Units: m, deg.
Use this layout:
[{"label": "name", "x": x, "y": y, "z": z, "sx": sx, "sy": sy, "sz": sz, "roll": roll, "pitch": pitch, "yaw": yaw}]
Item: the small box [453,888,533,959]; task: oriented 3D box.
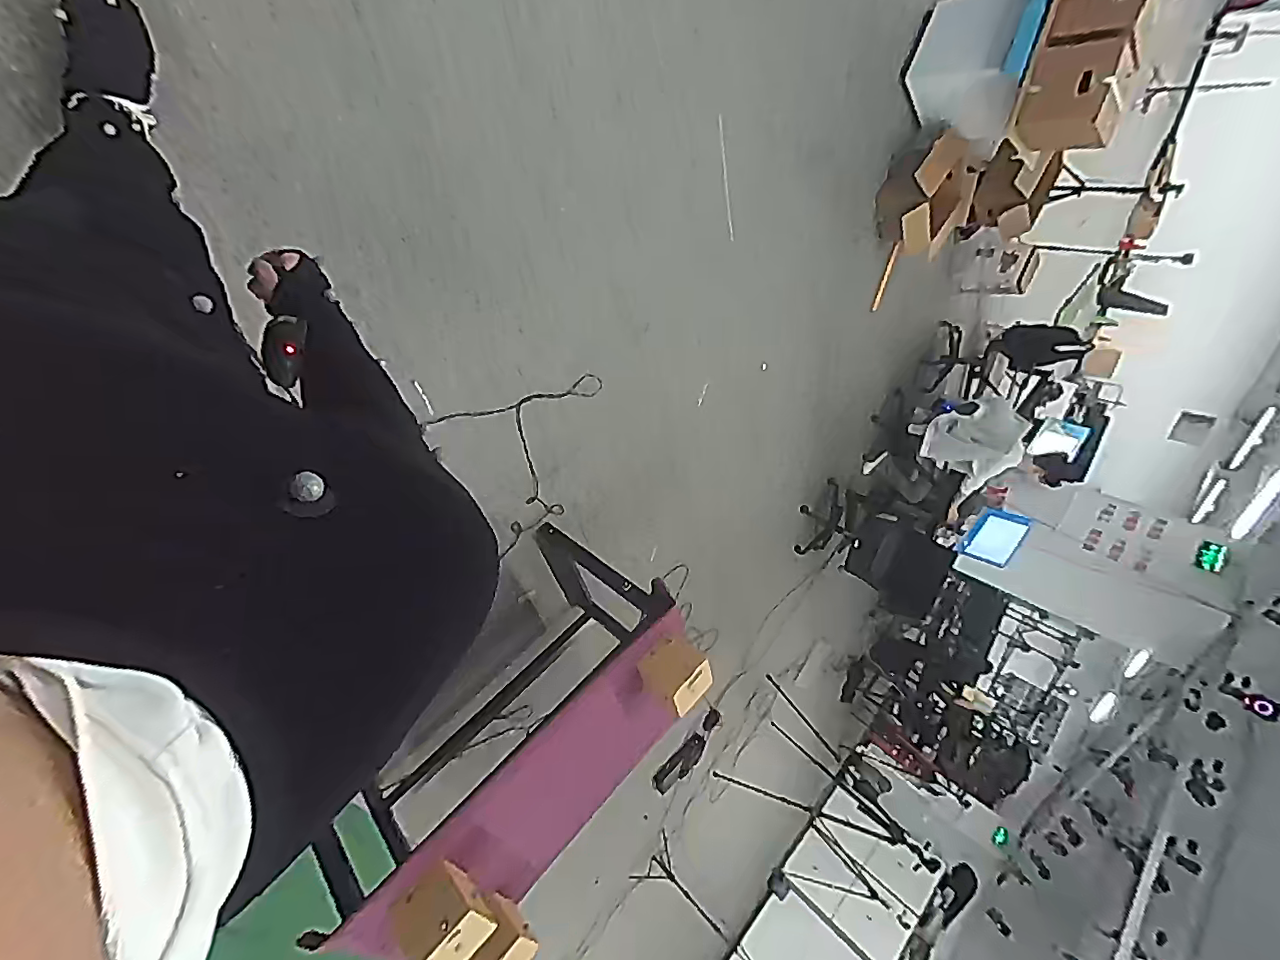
[{"label": "small box", "x": -0.458, "y": 1.377, "z": 1.625, "sx": 0.168, "sy": 0.176, "sz": 0.179, "roll": -42, "pitch": 136, "yaw": -26}]

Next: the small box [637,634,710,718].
[{"label": "small box", "x": 0.107, "y": 0.637, "z": 1.780, "sx": 0.168, "sy": 0.176, "sz": 0.179, "roll": -38, "pitch": 138, "yaw": -24}]

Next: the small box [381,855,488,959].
[{"label": "small box", "x": -0.529, "y": 1.117, "z": 1.394, "sx": 0.168, "sy": 0.176, "sz": 0.179, "roll": -39, "pitch": 136, "yaw": -26}]
